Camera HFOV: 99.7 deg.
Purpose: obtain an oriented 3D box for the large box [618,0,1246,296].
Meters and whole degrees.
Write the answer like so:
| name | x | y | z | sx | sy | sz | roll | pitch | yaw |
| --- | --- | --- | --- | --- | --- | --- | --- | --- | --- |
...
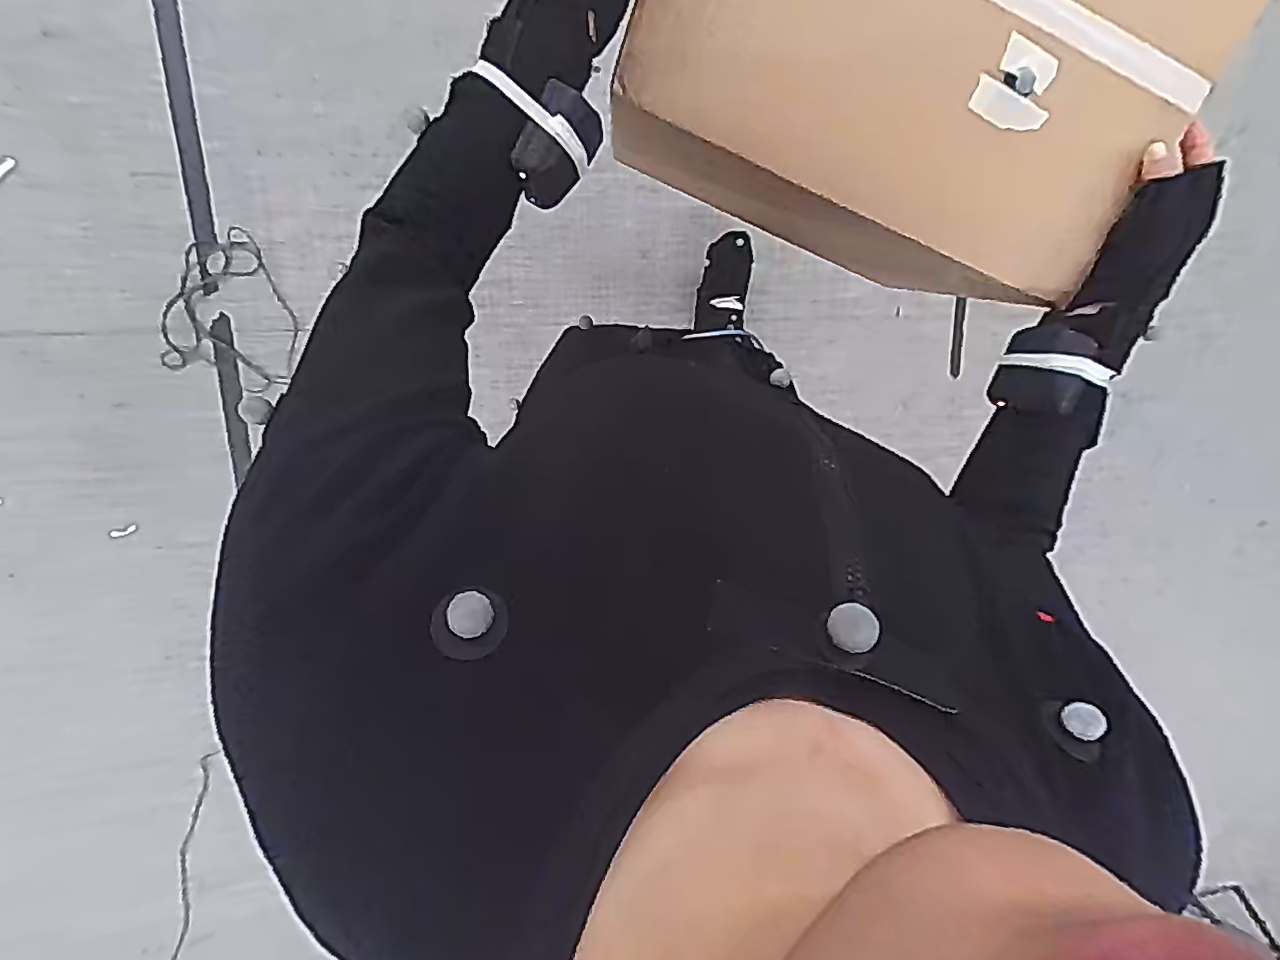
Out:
| name | x | y | z | sx | sy | sz | roll | pitch | yaw |
| --- | --- | --- | --- | --- | --- | --- | --- | --- | --- |
| large box | 0.216 | -0.408 | 0.513 | 0.408 | 0.320 | 0.320 | 19 | 112 | -12 |
